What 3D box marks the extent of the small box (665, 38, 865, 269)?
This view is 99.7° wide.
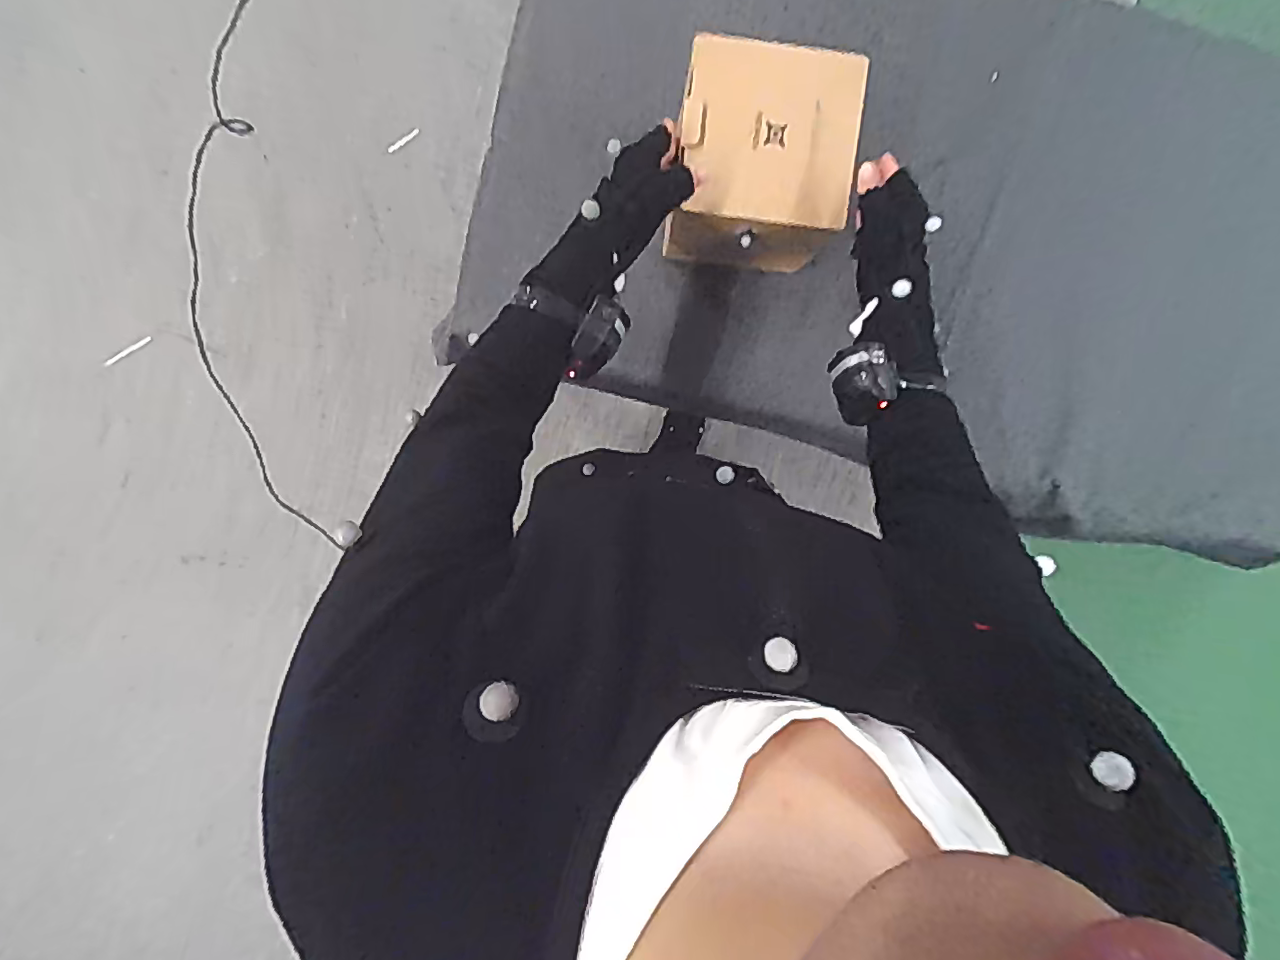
[{"bbox_3d":[0.126,-0.353,0.619,0.179,0.176,0.168,6,97,-4],"label":"small box"}]
